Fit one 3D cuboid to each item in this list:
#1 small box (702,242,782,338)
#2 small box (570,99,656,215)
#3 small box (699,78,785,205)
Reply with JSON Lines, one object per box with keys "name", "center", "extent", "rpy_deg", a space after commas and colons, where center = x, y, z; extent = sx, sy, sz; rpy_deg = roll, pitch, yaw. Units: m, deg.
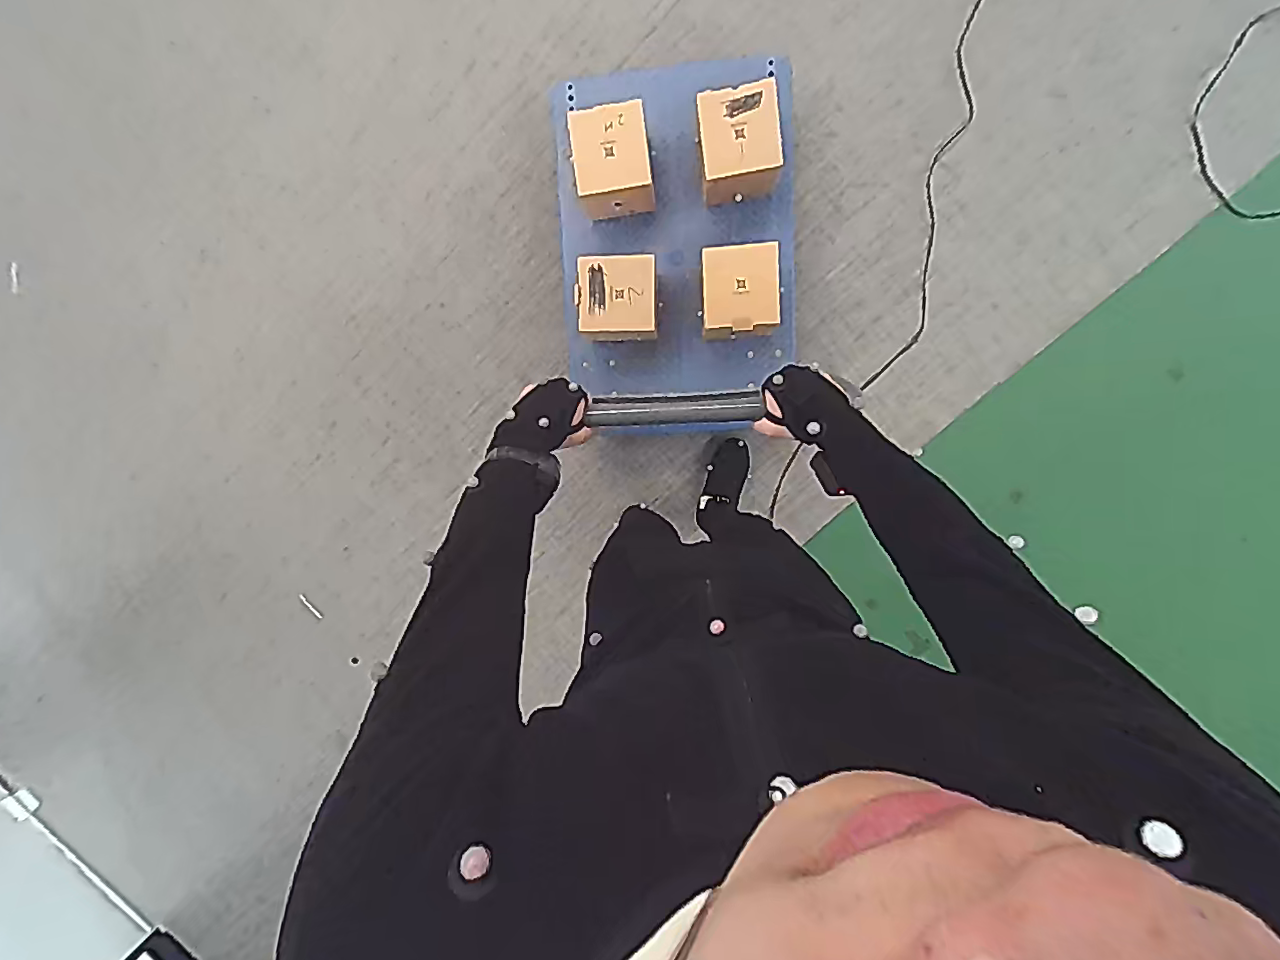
{"name": "small box", "center": [0.231, -0.434, 1.257], "extent": [0.168, 0.176, 0.179], "rpy_deg": [-3, 99, 6]}
{"name": "small box", "center": [-0.055, -0.726, 1.240], "extent": [0.168, 0.176, 0.179], "rpy_deg": [-6, 98, 5]}
{"name": "small box", "center": [0.222, -0.746, 1.211], "extent": [0.168, 0.176, 0.179], "rpy_deg": [-7, 99, 7]}
